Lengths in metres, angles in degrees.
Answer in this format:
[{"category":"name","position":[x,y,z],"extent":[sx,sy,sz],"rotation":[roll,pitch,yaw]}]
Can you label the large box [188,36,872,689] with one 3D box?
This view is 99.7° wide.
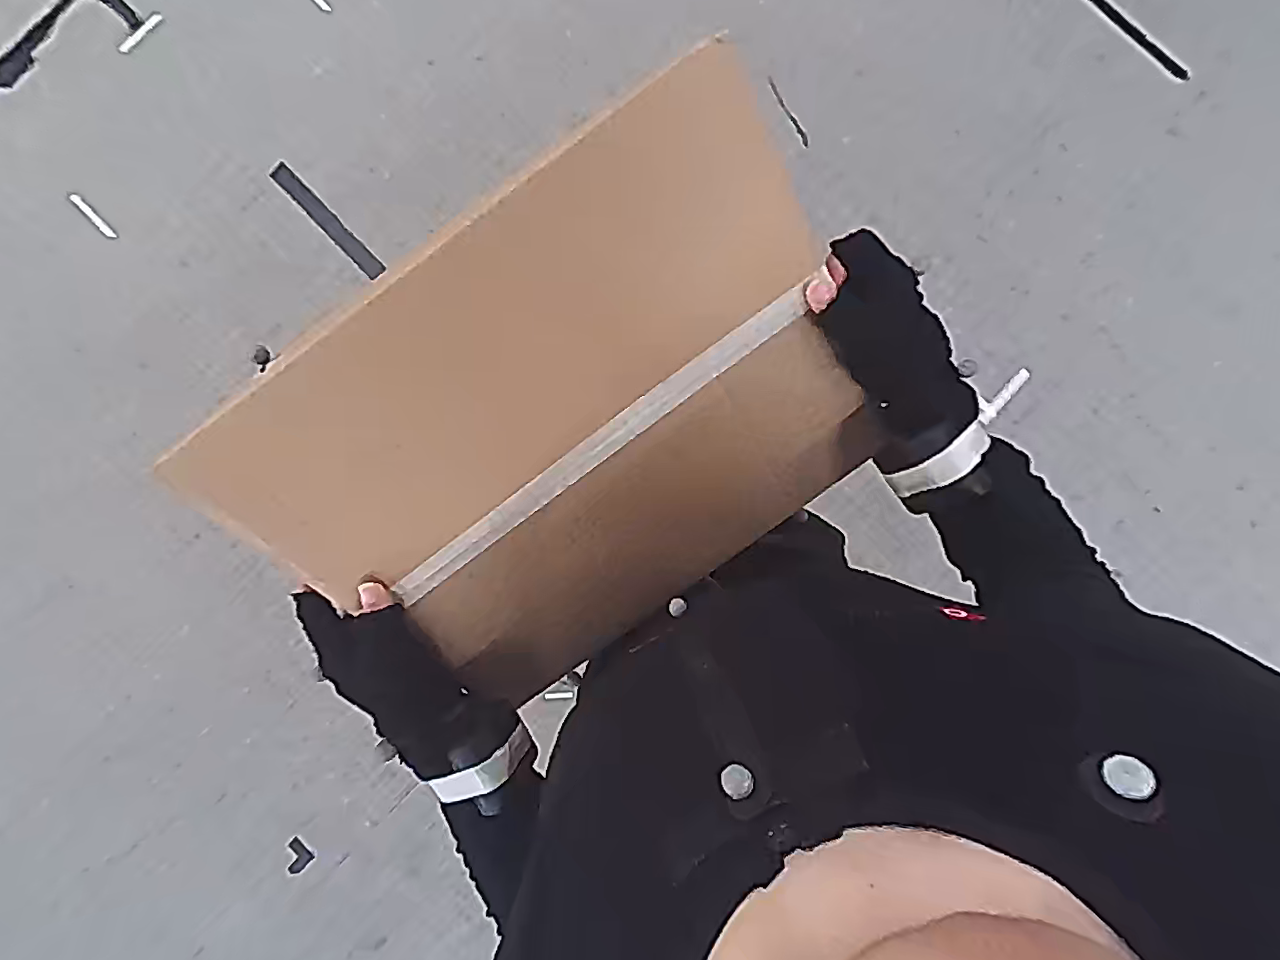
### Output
[{"category":"large box","position":[-0.081,-0.096,0.519],"extent":[0.408,0.320,0.320],"rotation":[-36,122,3]}]
